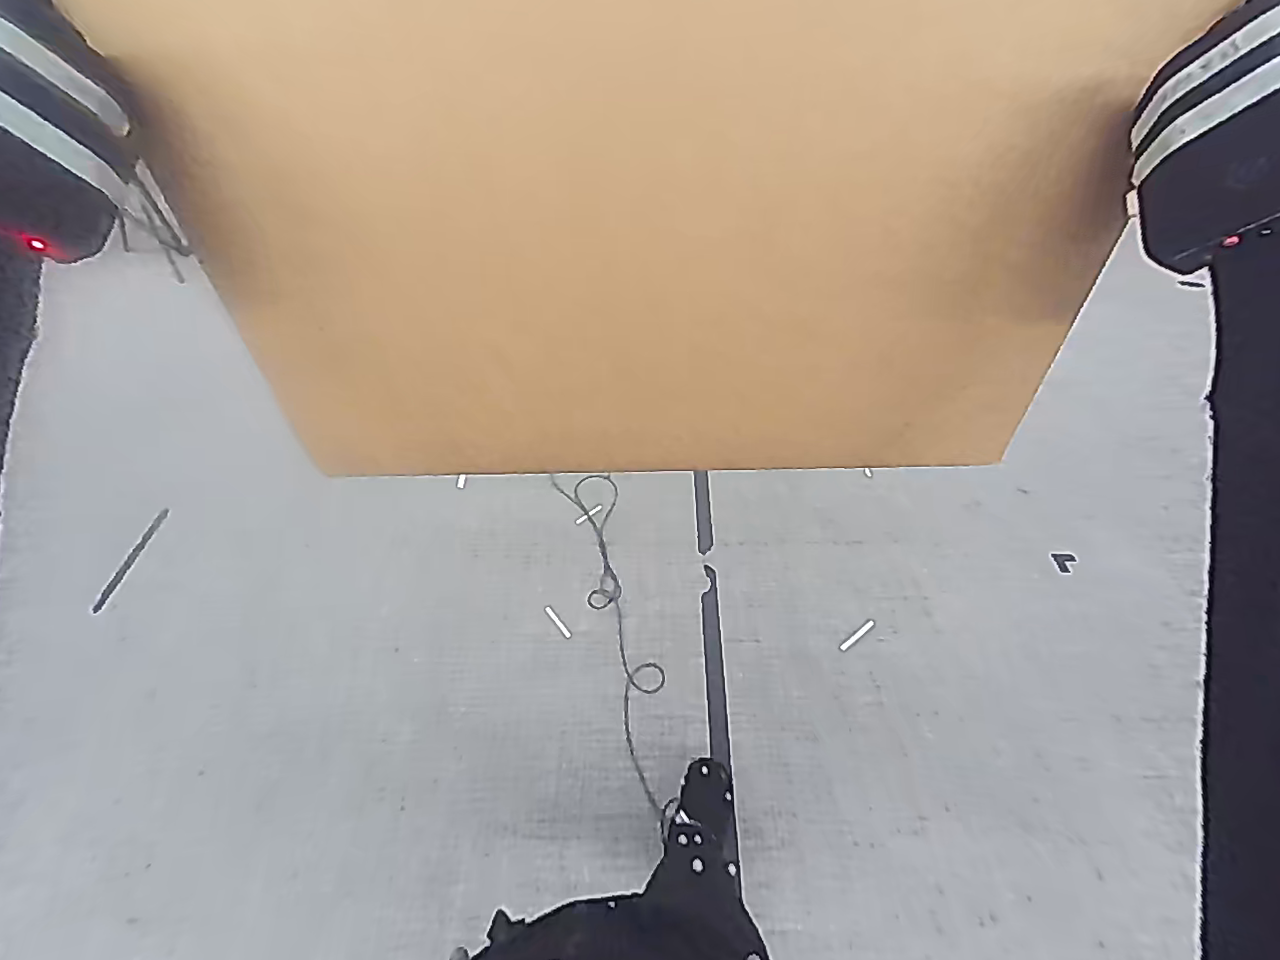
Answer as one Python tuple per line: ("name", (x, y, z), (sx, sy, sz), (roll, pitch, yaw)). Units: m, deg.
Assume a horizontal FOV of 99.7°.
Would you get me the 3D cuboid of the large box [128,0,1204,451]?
("large box", (0.009, -0.229, 0.343), (0.408, 0.320, 0.320), (0, 42, 0))
